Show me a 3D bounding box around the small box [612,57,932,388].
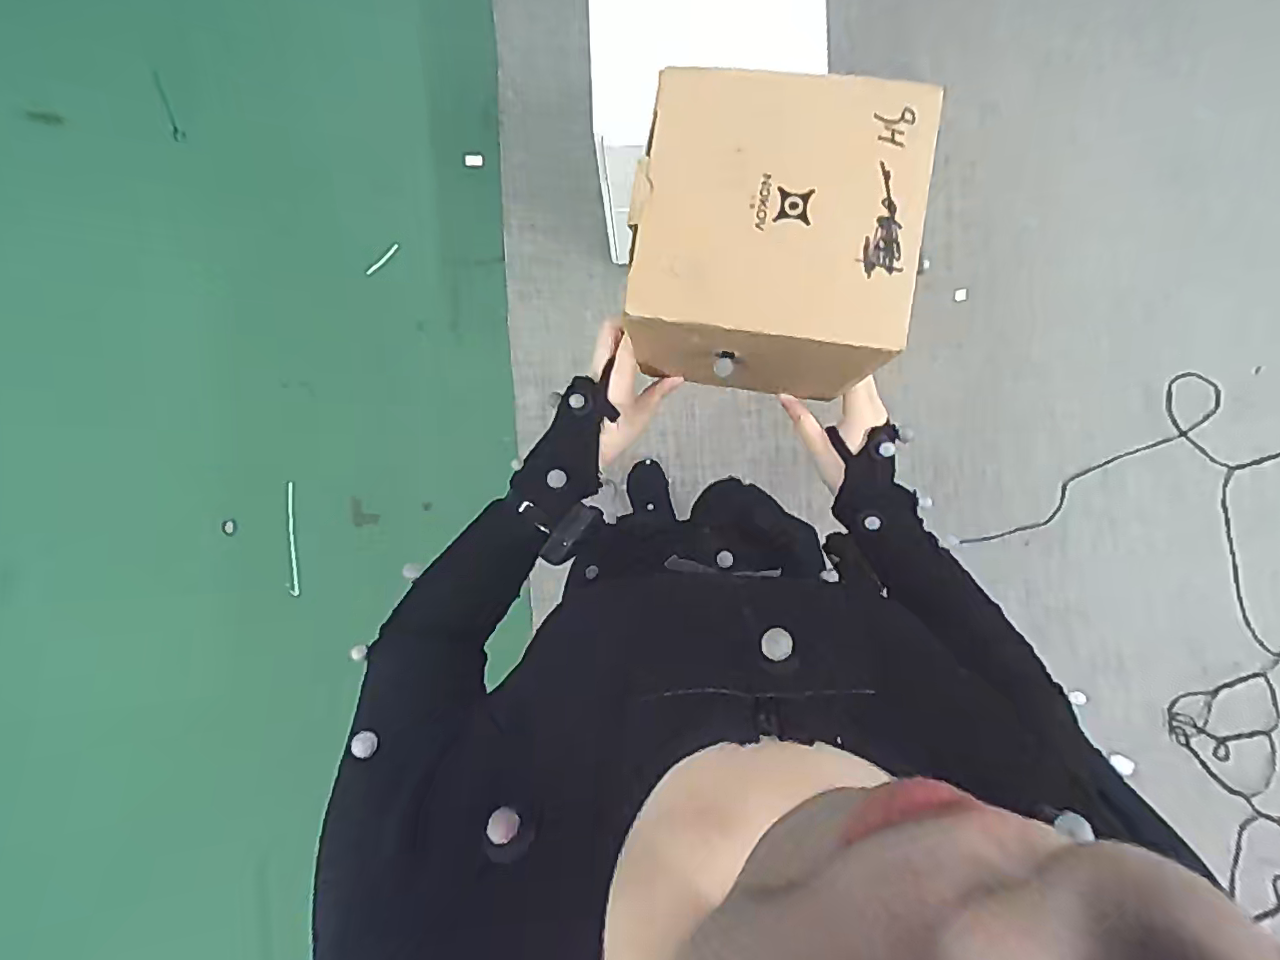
[{"bbox_3d":[0.088,-0.174,0.414,0.179,0.176,0.168,9,89,6],"label":"small box"}]
